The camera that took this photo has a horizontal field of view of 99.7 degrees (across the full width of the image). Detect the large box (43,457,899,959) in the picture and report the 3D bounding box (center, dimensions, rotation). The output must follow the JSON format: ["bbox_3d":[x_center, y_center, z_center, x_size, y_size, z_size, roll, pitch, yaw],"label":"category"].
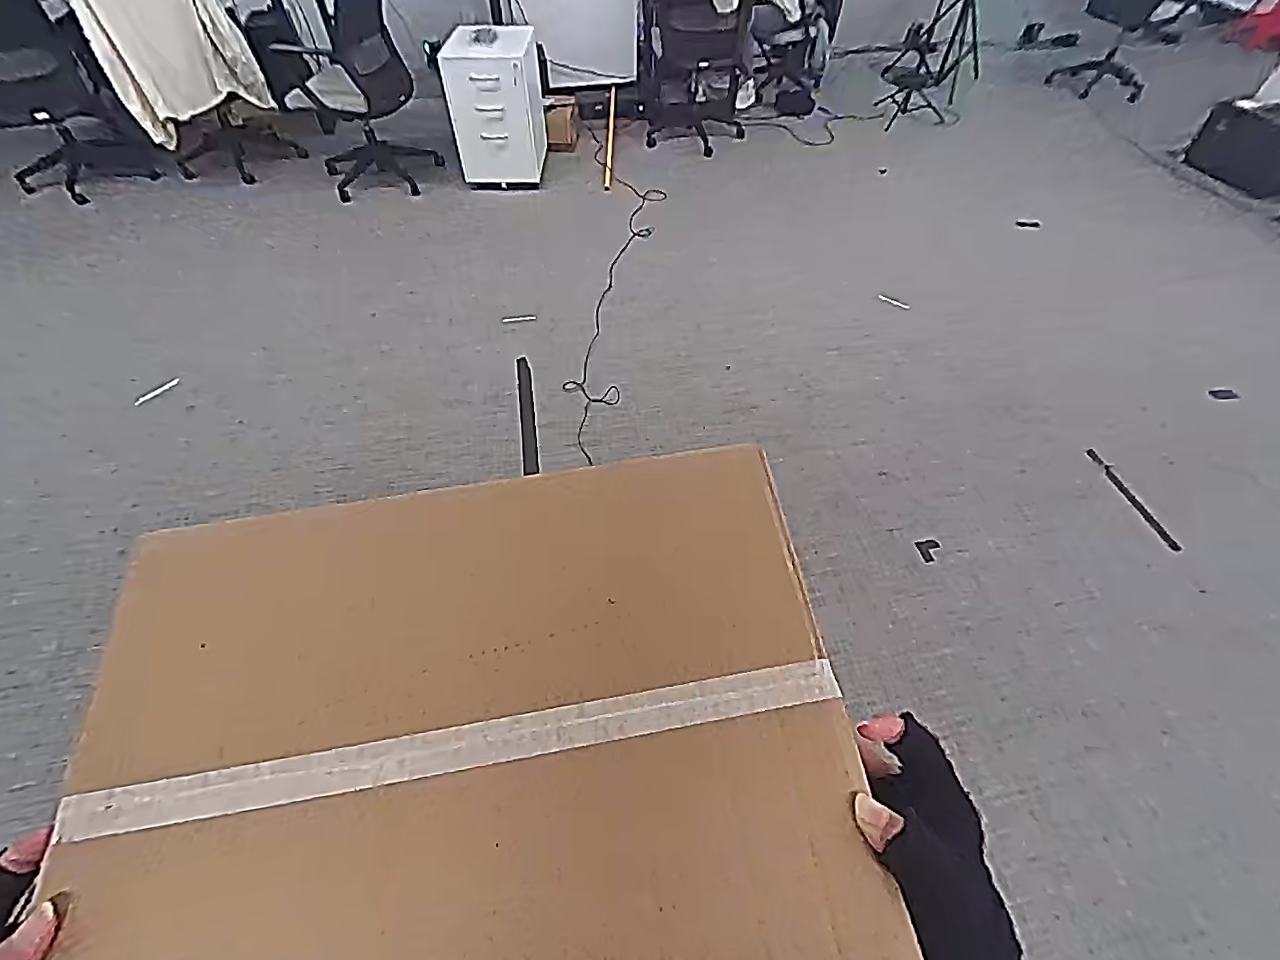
[{"bbox_3d":[-0.092,0.215,0.430,0.408,0.320,0.320,-9,62,-4],"label":"large box"}]
